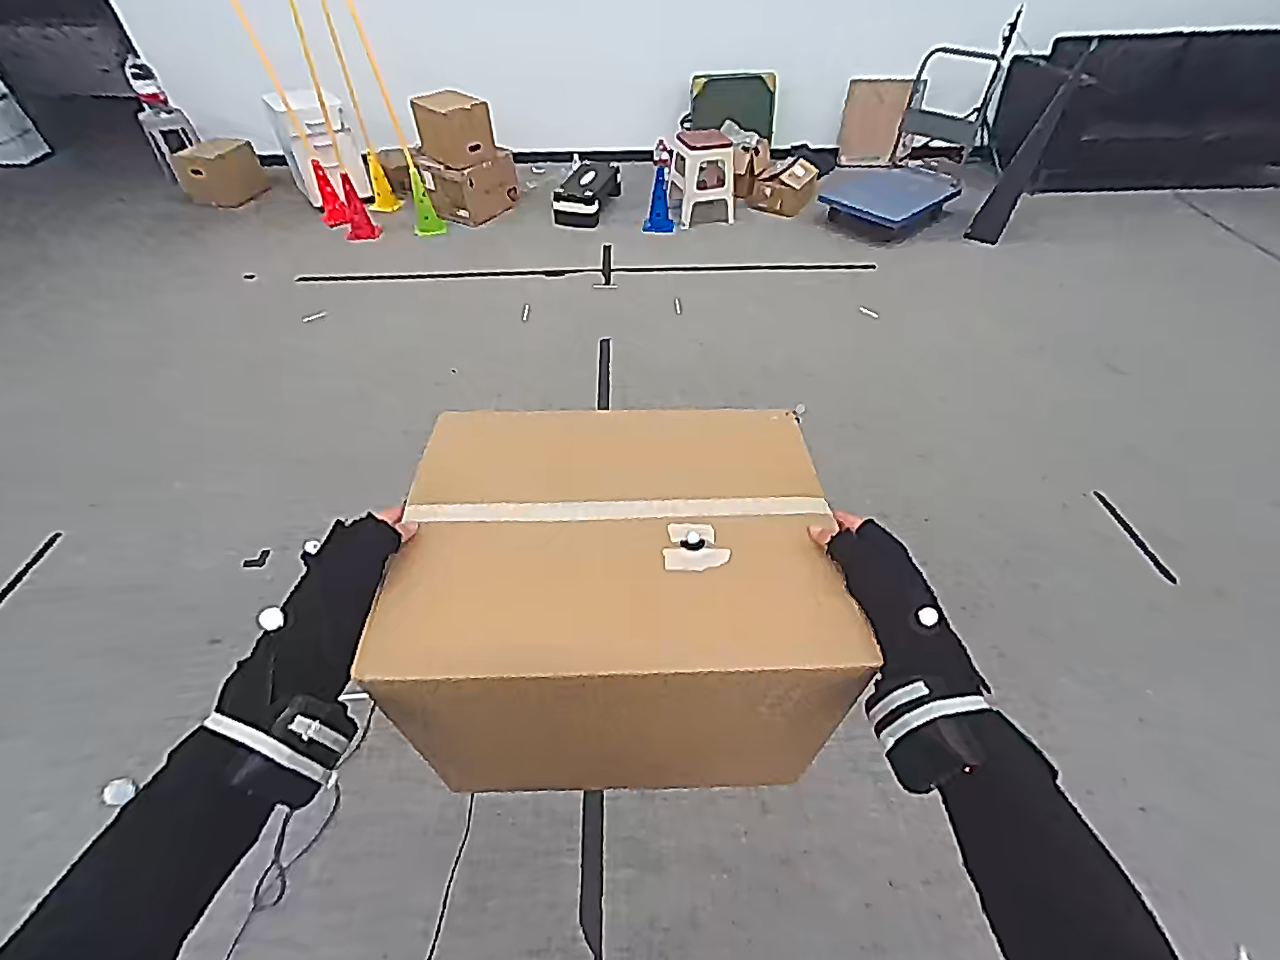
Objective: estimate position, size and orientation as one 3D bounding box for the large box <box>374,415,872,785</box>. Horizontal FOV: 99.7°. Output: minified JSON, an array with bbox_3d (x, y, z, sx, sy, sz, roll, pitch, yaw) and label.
[{"bbox_3d":[-0.019,0.138,0.632,0.408,0.320,0.320,0,46,-1],"label":"large box"}]
